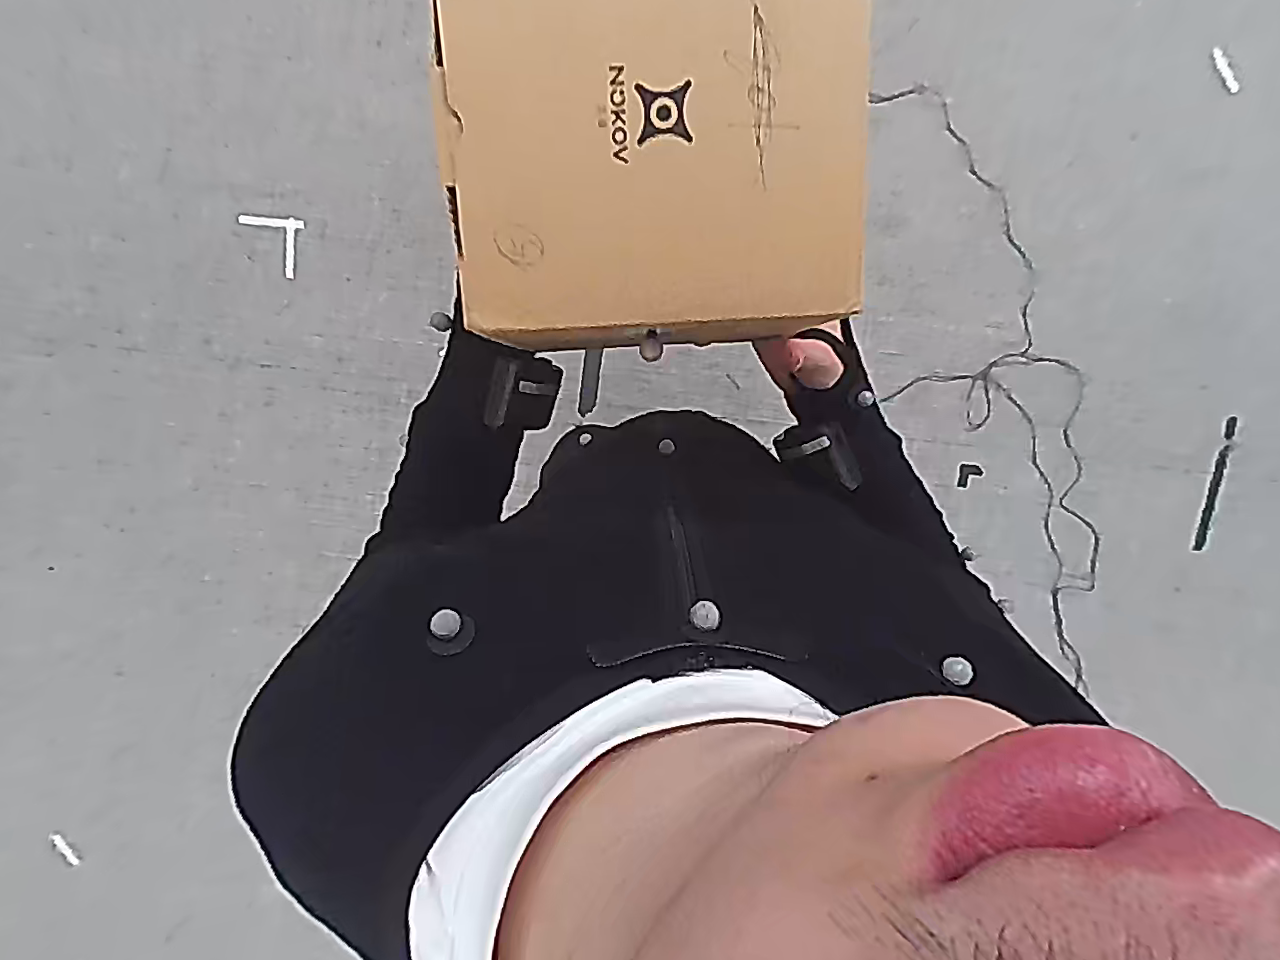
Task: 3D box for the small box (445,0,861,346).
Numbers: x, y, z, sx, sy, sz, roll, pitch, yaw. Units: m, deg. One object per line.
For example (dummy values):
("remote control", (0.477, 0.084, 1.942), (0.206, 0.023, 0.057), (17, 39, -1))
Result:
("small box", (0.008, -0.168, 0.312), (0.179, 0.176, 0.168), (-3, 102, 0))
